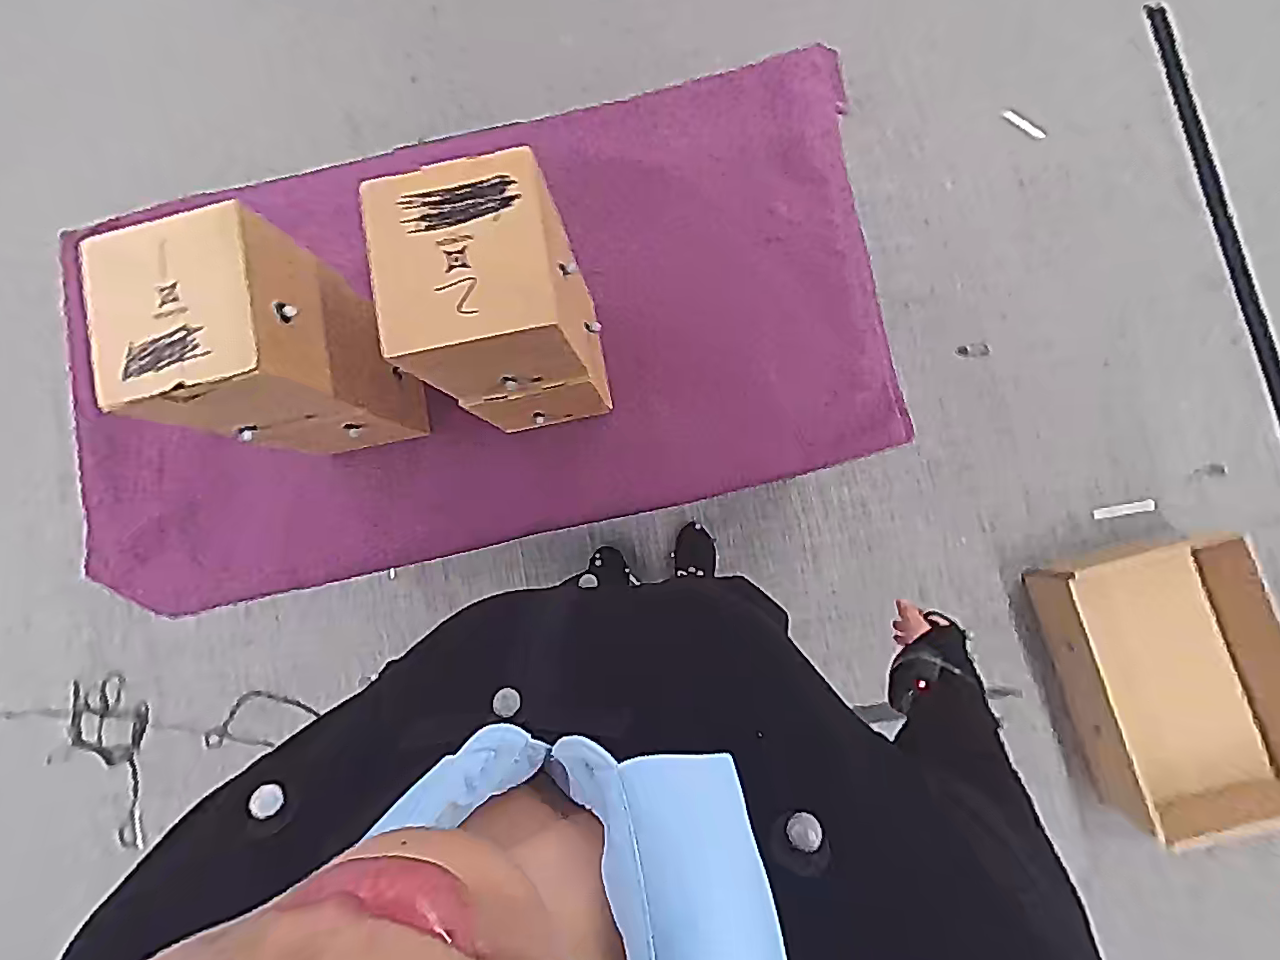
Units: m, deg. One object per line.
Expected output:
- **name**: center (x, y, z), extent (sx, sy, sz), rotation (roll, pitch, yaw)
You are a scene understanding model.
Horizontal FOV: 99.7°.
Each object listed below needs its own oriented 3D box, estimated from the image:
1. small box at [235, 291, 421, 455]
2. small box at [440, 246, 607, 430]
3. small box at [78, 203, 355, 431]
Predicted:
- **small box**: center (-0.426, -0.137, 0.753), extent (0.179, 0.176, 0.168), rotation (-11, 84, 4)
- **small box**: center (-0.148, -0.179, 0.733), extent (0.168, 0.176, 0.179), rotation (-11, 84, 4)
- **small box**: center (-0.441, -0.157, 0.590), extent (0.168, 0.176, 0.179), rotation (-13, 84, 4)
